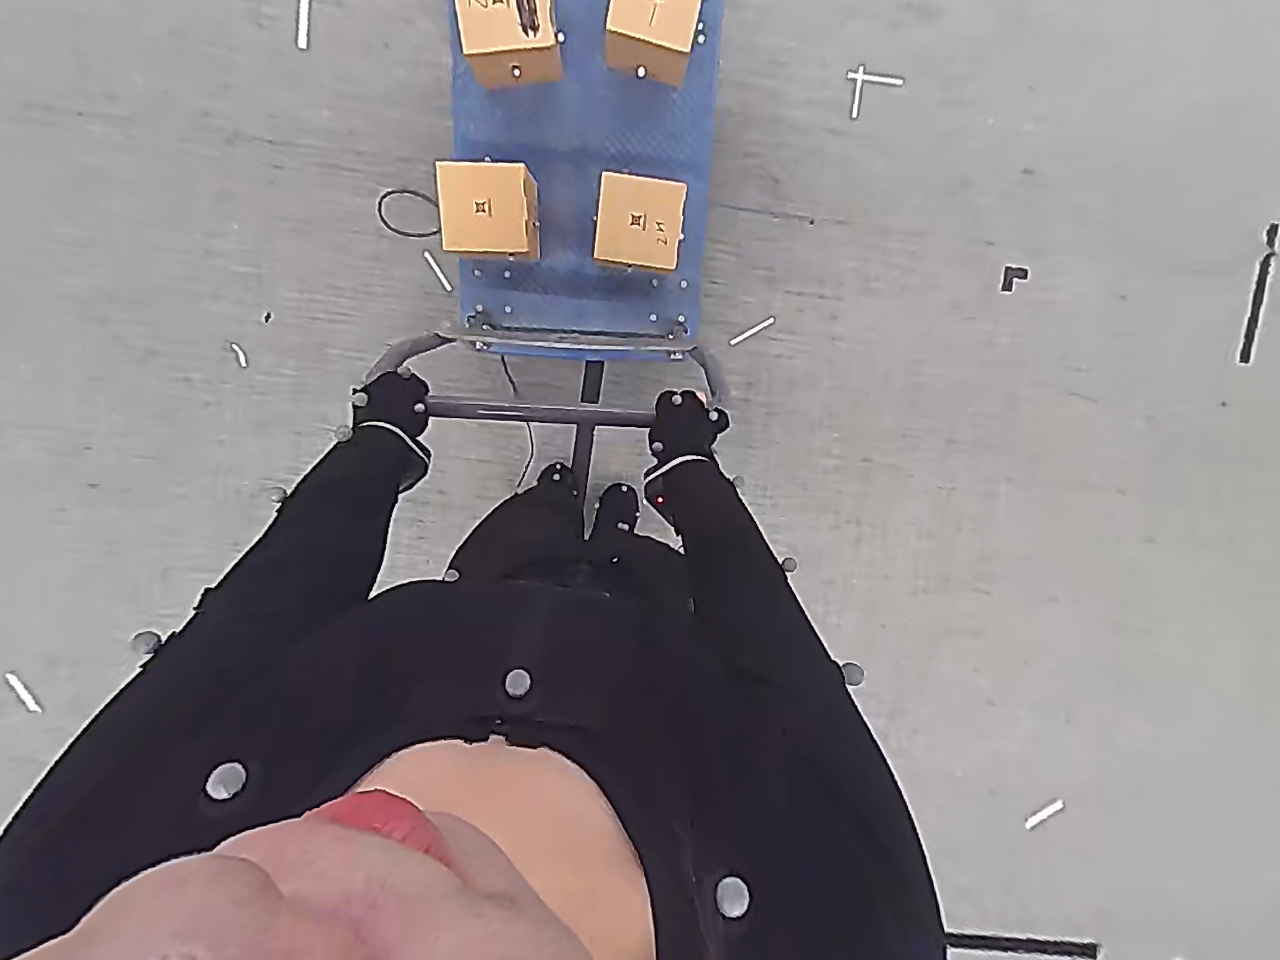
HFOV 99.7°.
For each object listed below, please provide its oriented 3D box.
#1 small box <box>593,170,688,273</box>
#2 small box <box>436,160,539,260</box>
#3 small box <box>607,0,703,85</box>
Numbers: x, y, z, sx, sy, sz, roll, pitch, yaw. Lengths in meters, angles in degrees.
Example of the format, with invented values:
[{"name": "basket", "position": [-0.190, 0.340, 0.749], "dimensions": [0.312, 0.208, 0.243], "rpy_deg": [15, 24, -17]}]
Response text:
[{"name": "small box", "position": [-0.002, -0.551, 1.177], "dimensions": [0.179, 0.176, 0.168], "rpy_deg": [7, 107, -4]}, {"name": "small box", "position": [-0.319, -0.571, 1.161], "dimensions": [0.179, 0.176, 0.168], "rpy_deg": [-1, 107, -3]}, {"name": "small box", "position": [0.033, -0.929, 1.065], "dimensions": [0.168, 0.176, 0.179], "rpy_deg": [13, 107, -6]}]
